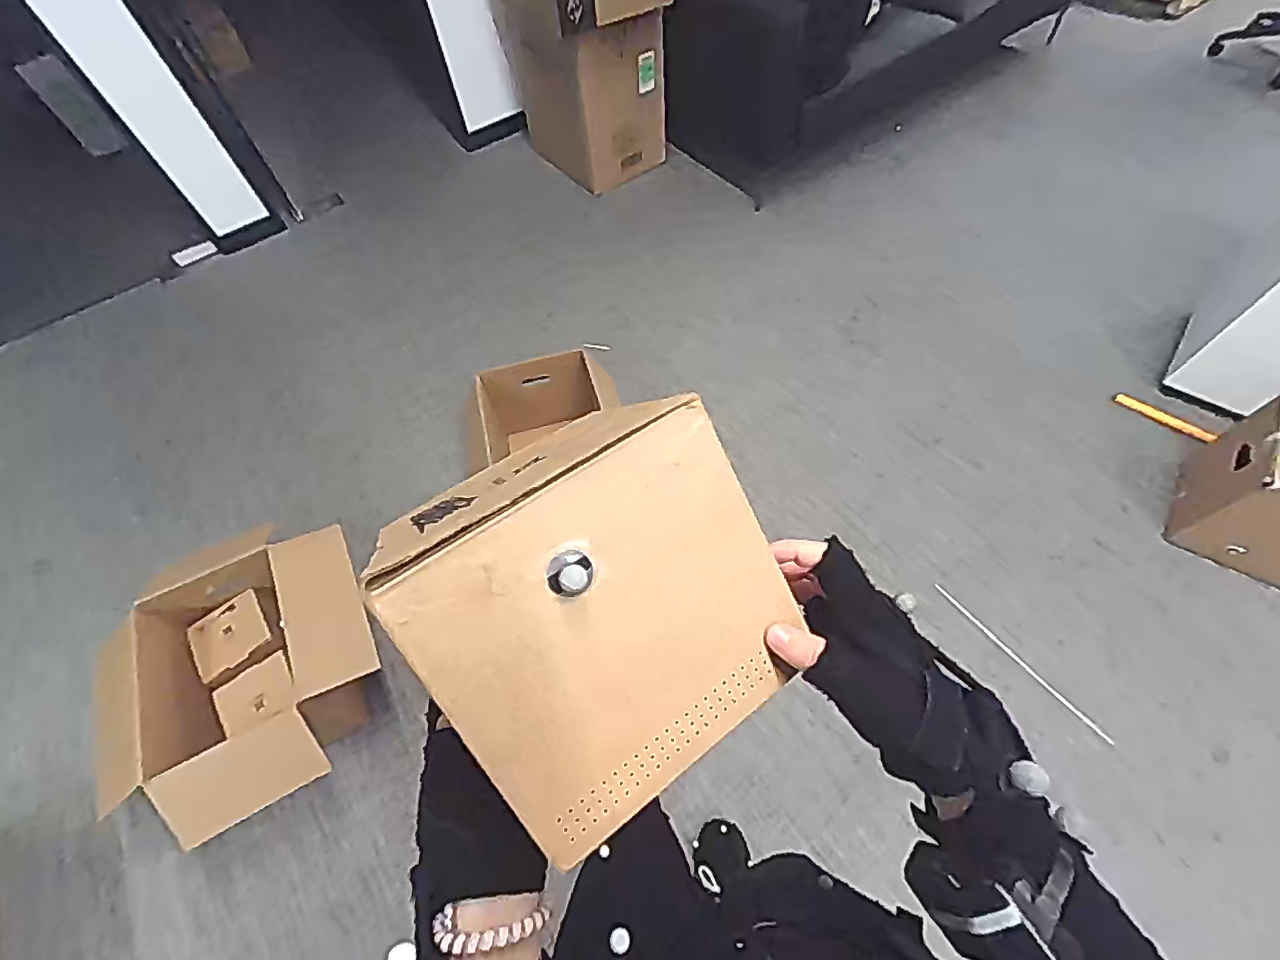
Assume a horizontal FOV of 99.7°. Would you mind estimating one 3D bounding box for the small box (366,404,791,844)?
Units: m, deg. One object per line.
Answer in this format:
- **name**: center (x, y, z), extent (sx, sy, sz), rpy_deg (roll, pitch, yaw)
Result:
- **small box**: center (-0.038, 0.070, 0.341), extent (0.179, 0.168, 0.176), rpy_deg (-32, 106, -18)
